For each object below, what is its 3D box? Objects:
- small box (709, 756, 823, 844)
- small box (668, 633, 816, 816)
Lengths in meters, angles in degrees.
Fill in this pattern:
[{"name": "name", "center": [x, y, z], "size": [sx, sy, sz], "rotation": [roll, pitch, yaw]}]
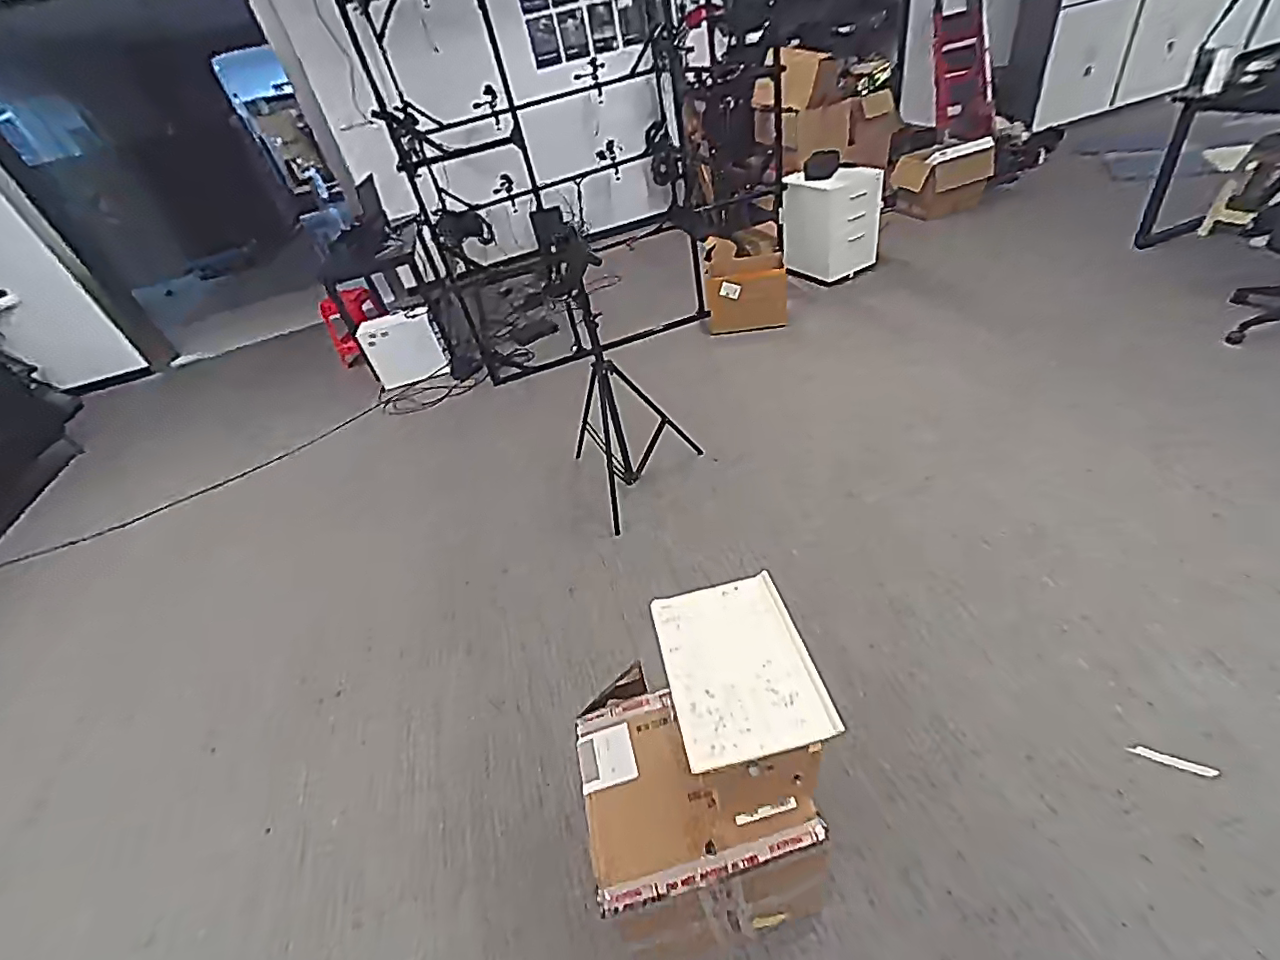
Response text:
[{"name": "small box", "center": [0.187, 0.480, 0.917], "size": [0.179, 0.176, 0.168], "rotation": [-16, 40, -5]}, {"name": "small box", "center": [0.144, 0.363, 0.808], "size": [0.168, 0.176, 0.179], "rotation": [-13, 41, -3]}]
